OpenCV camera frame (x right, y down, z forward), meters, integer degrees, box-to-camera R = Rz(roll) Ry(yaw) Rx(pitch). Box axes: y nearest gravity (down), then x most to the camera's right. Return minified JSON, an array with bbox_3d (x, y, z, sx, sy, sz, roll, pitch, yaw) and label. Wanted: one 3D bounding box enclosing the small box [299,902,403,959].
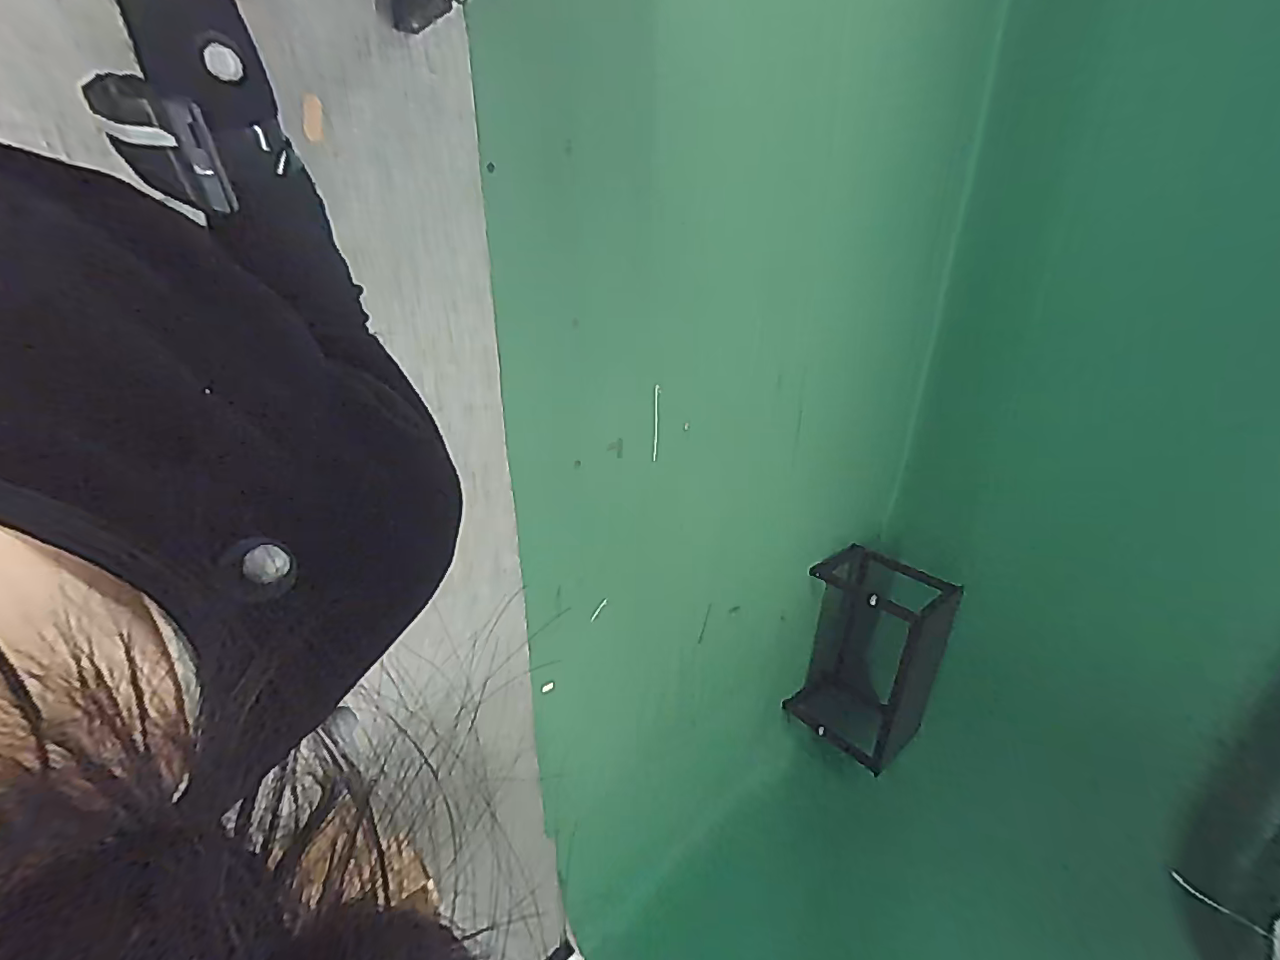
[{"bbox_3d":[-0.727,1.226,1.369,0.168,0.176,0.179,-33,129,-29],"label":"small box"}]
